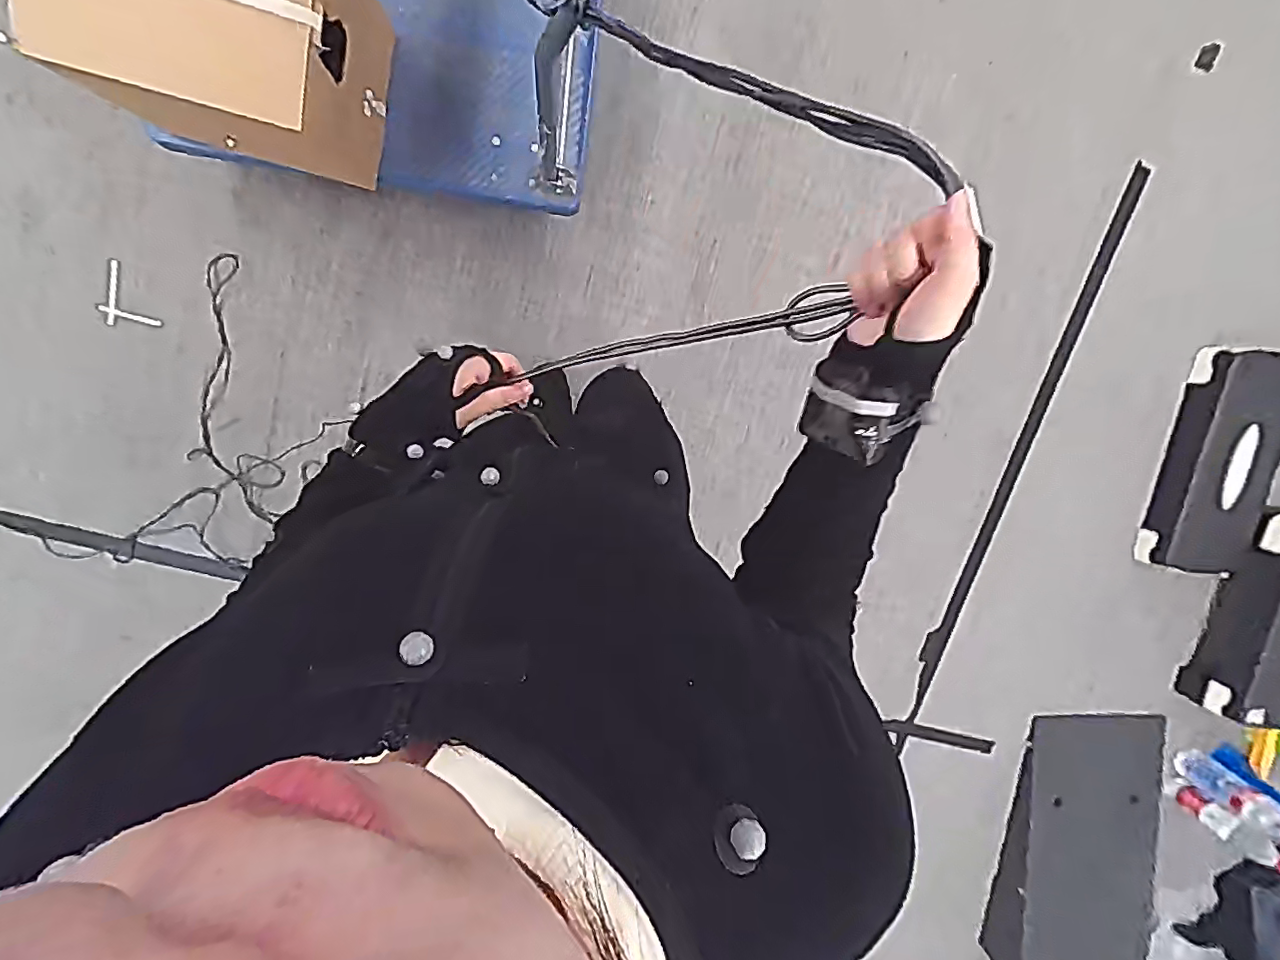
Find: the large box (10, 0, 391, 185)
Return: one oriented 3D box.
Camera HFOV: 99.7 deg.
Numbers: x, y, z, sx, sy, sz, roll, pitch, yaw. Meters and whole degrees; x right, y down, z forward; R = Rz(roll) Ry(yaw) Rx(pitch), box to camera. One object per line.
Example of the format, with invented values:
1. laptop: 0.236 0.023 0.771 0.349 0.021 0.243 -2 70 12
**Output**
1. large box: -0.695 -0.756 0.923 0.408 0.320 0.320 12 101 -8
